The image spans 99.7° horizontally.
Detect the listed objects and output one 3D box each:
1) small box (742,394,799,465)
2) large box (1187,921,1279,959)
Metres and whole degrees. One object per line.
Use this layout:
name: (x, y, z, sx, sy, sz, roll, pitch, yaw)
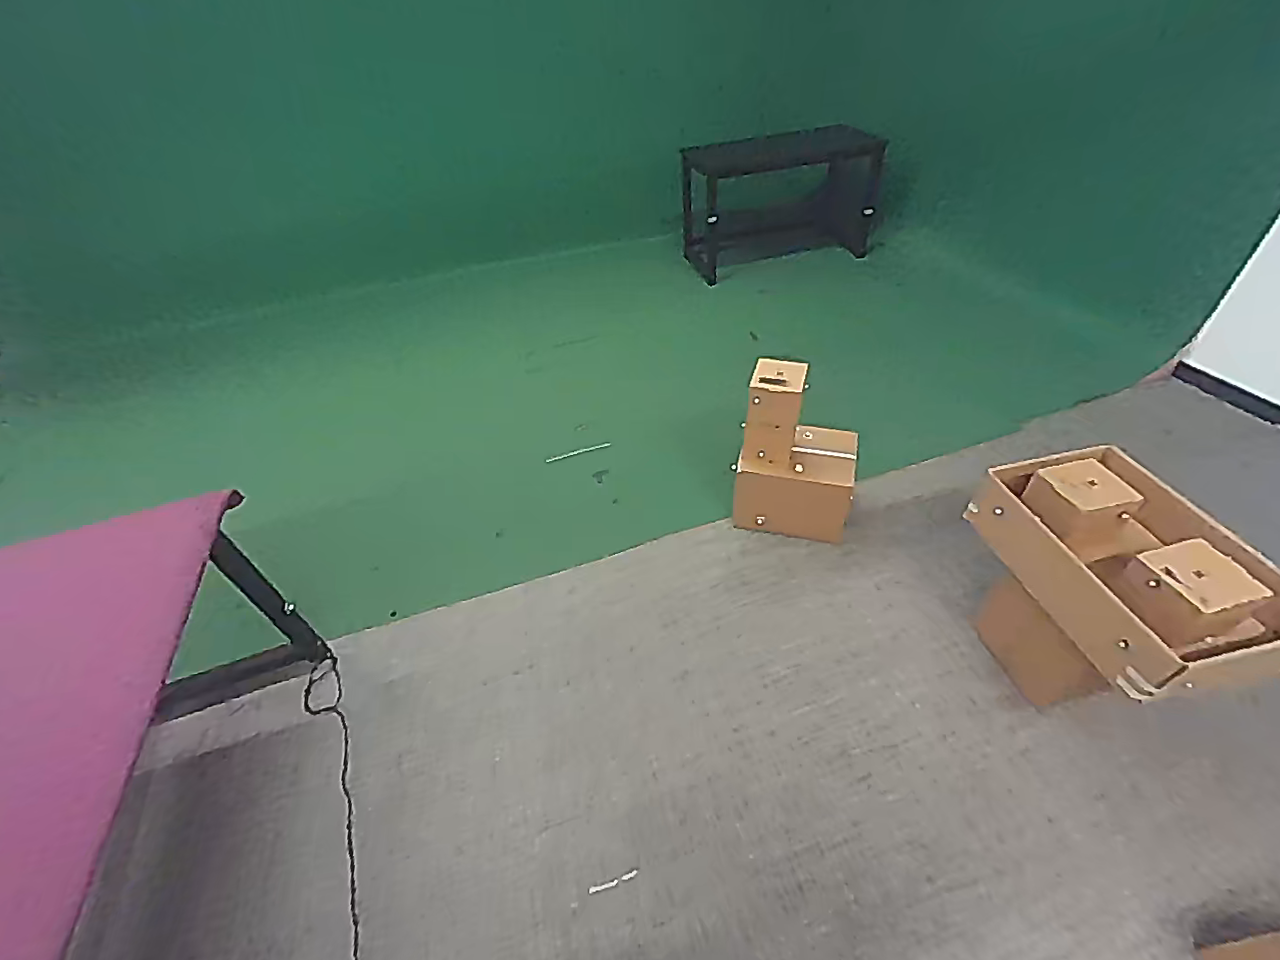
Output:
small box: (0.465, -0.180, 1.940, 0.168, 0.176, 0.179, 11, 48, 15)
large box: (1.316, 1.049, 0.926, 0.320, 0.320, 0.408, 1, 43, 6)
